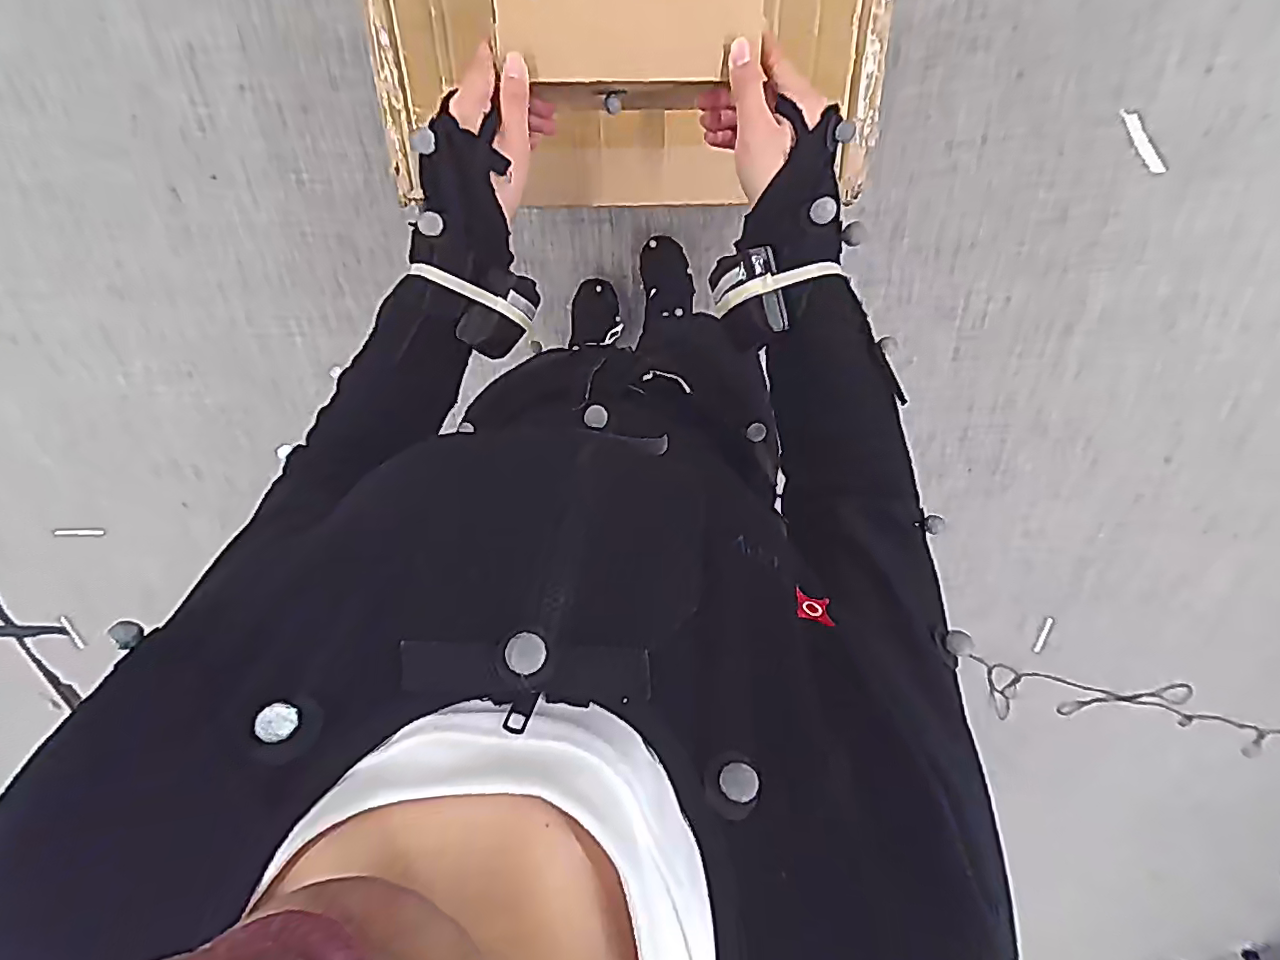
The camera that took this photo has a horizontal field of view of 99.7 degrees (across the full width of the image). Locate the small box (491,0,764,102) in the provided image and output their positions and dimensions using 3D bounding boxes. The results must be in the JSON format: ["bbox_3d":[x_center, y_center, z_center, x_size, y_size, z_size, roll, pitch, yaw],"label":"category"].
[{"bbox_3d":[-0.006,-0.382,0.389,0.179,0.176,0.168,0,119,1],"label":"small box"}]
